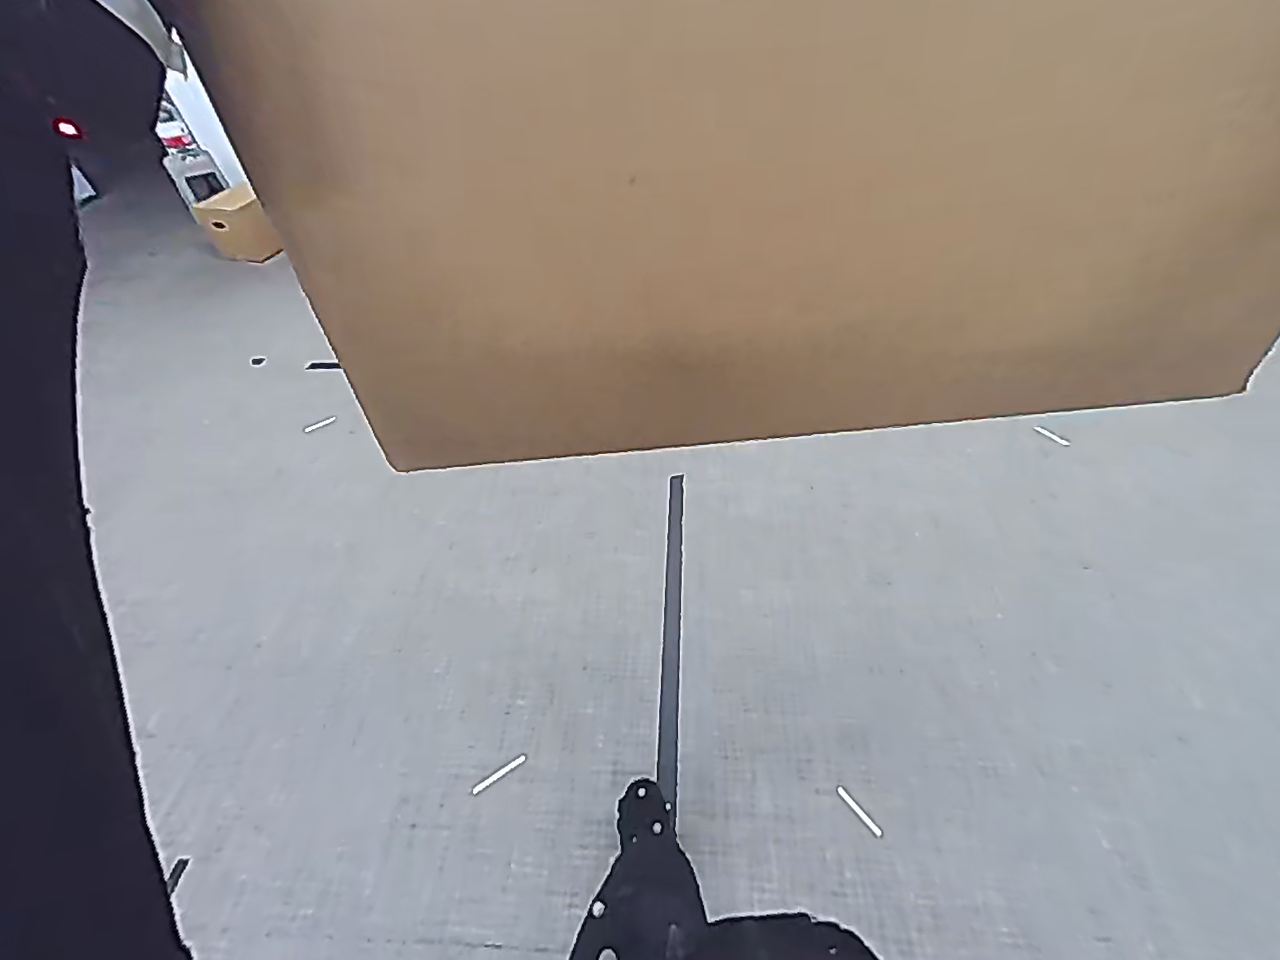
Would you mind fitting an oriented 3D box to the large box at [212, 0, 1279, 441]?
[{"bbox_3d":[0.058,-0.243,0.285,0.408,0.320,0.320,-5,41,0],"label":"large box"}]
